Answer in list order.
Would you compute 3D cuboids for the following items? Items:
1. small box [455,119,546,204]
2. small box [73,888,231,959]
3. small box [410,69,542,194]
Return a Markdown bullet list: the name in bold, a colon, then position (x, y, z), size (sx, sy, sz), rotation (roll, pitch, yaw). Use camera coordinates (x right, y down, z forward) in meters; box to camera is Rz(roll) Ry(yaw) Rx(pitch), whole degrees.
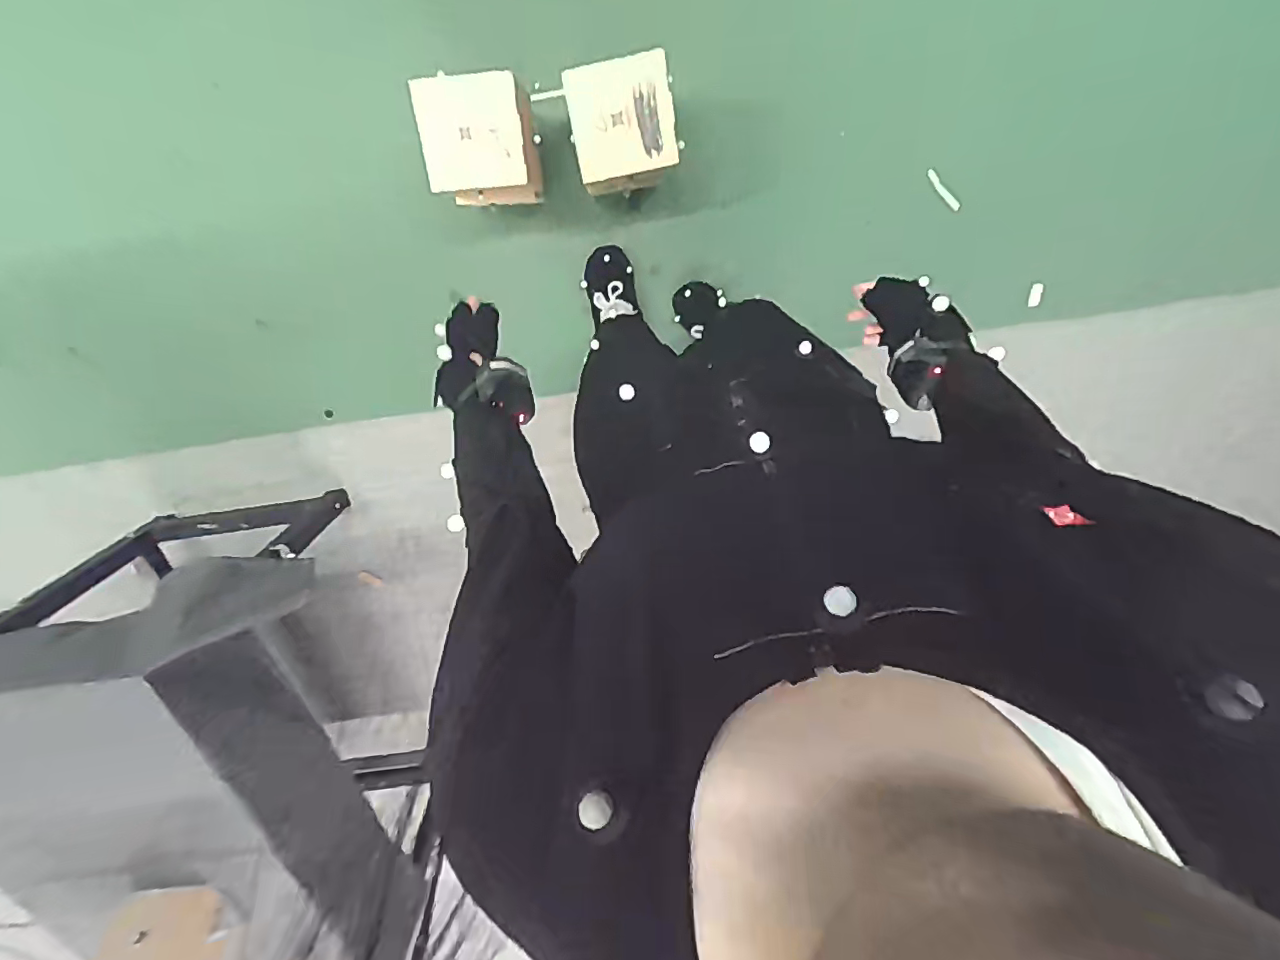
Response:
- **small box**: position (-0.298, -0.683, 1.141), size (0.168, 0.176, 0.179), rotation (-3, 114, 0)
- **small box**: position (-0.982, 0.955, 1.078), size (0.179, 0.176, 0.168), rotation (-7, 115, 1)
- **small box**: position (-0.287, -0.623, 0.986), size (0.179, 0.176, 0.168), rotation (-3, 114, 1)
